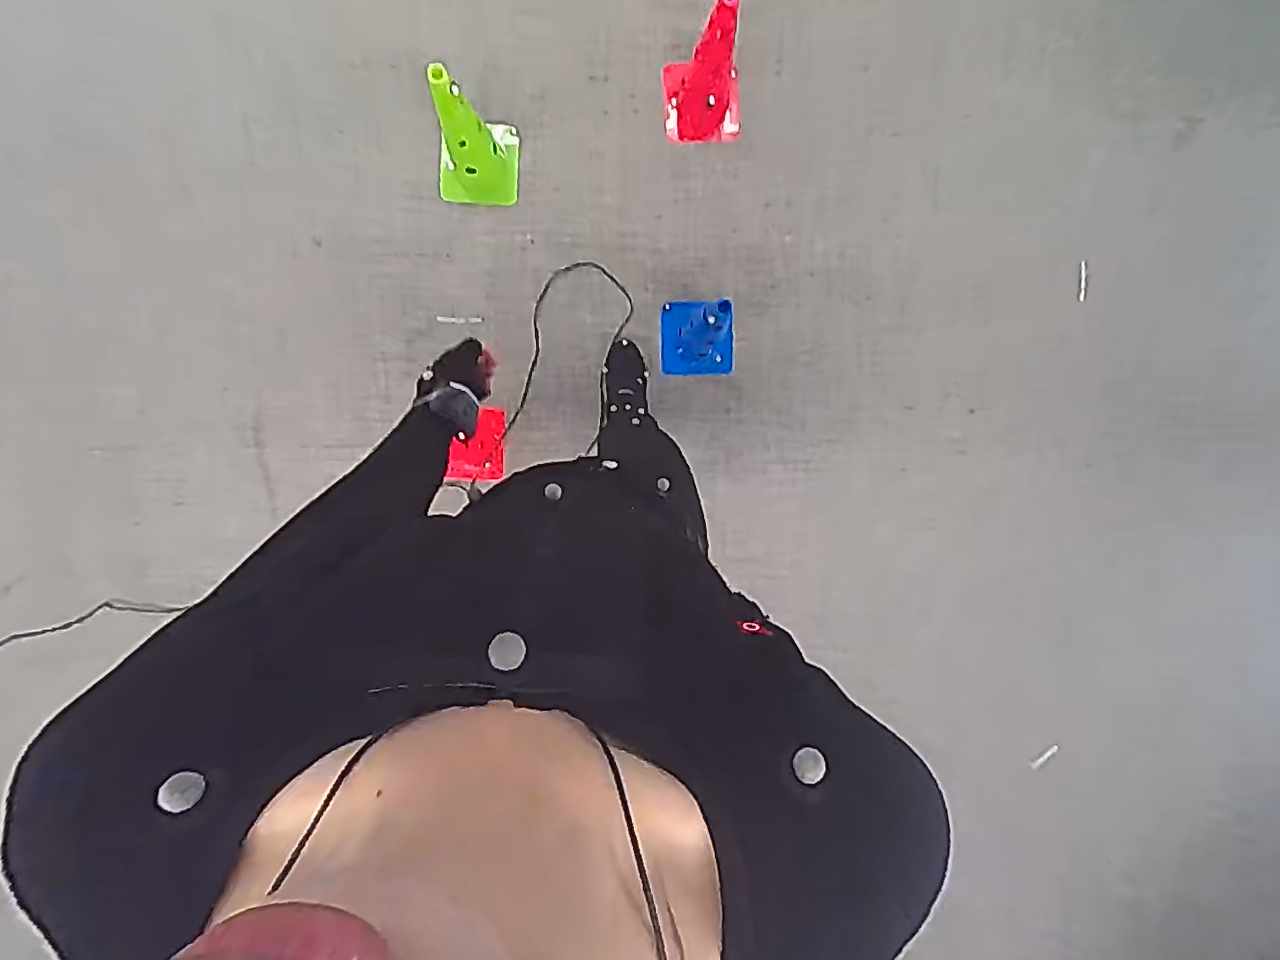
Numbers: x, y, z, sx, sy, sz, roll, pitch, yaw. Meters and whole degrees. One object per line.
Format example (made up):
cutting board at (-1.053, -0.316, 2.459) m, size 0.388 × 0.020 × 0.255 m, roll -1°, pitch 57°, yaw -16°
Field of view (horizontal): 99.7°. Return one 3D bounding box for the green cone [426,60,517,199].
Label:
green cone at (-0.413, -0.824, 1.235) m, size 0.200 × 0.368 × 0.202 m, roll 2°, pitch 95°, yaw -3°

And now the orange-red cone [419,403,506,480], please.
orange-red cone at (-0.453, -0.095, 1.292) m, size 0.198 × 0.360 × 0.199 m, roll 4°, pitch 93°, yaw -4°
